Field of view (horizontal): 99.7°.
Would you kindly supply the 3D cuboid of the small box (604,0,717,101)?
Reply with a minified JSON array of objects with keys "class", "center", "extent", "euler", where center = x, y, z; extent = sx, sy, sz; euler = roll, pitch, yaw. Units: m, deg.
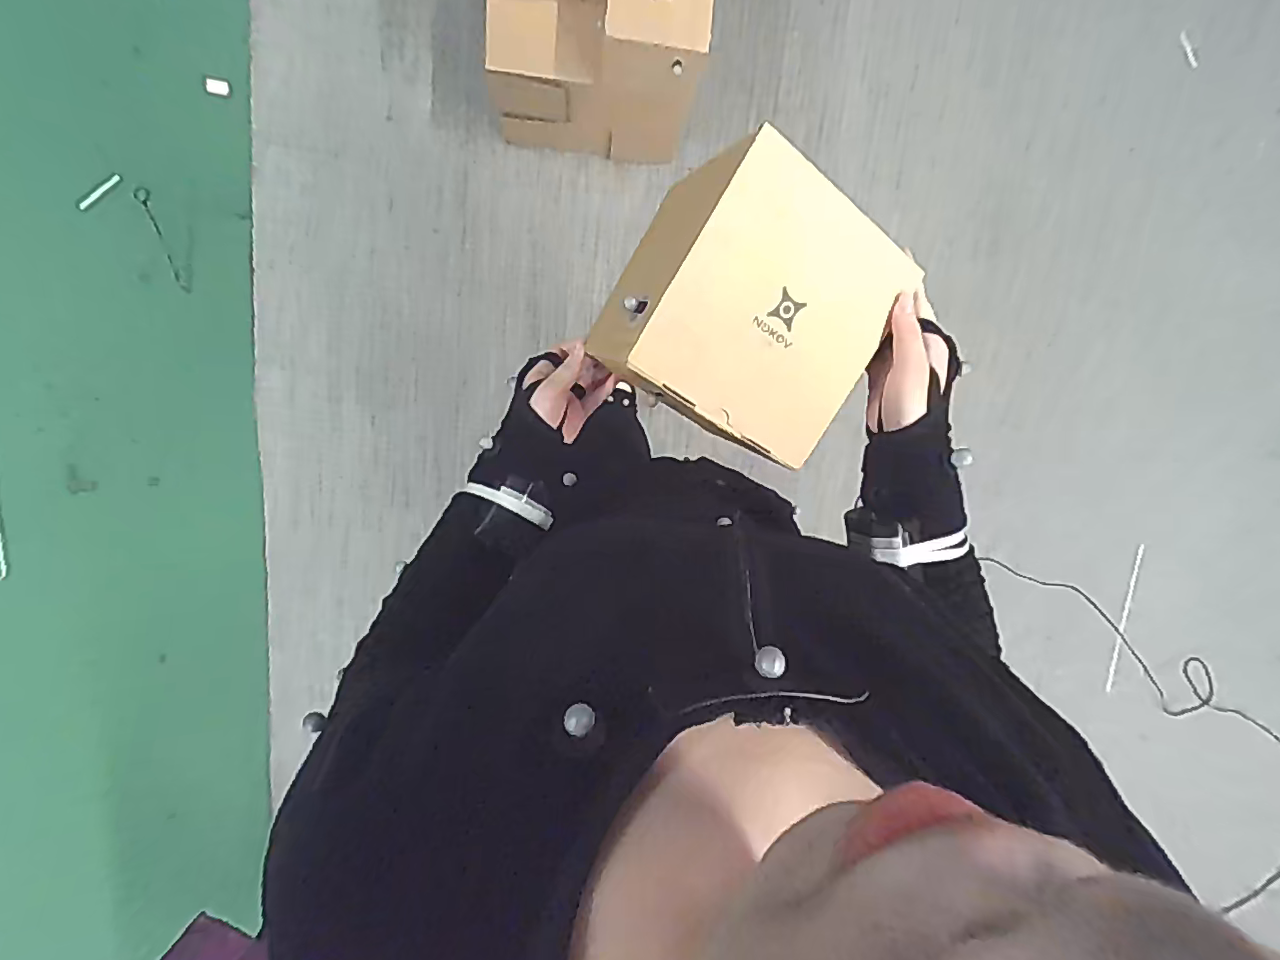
[{"class":"small box","center":[0.032,-0.798,0.942],"extent":[0.179,0.176,0.168],"euler":[5,99,-5]}]
